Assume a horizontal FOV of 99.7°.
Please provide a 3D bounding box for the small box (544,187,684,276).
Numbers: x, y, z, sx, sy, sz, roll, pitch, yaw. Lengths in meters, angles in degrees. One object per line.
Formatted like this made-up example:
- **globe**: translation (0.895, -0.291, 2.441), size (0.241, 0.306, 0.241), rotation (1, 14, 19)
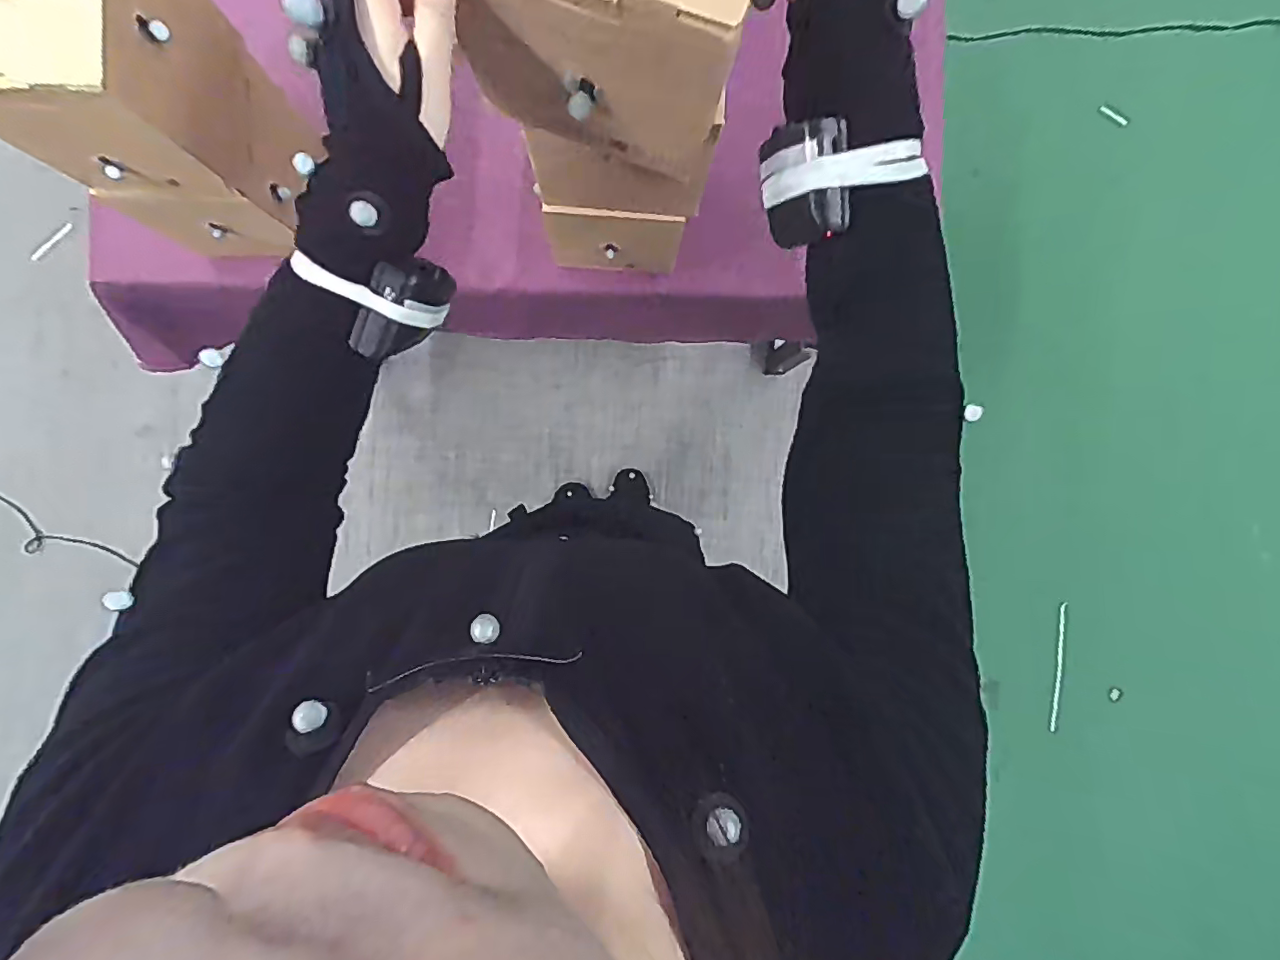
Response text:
- **small box**: translation (-0.026, -0.381, 0.699), size (0.168, 0.176, 0.179), rotation (4, 91, -3)

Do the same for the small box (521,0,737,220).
- **small box**: translation (-0.010, -0.381, 0.535), size (0.179, 0.176, 0.168), rotation (5, 91, -3)

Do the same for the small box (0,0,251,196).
- **small box**: translation (-0.507, -0.403, 0.513), size (0.168, 0.176, 0.179), rotation (1, 91, -2)
